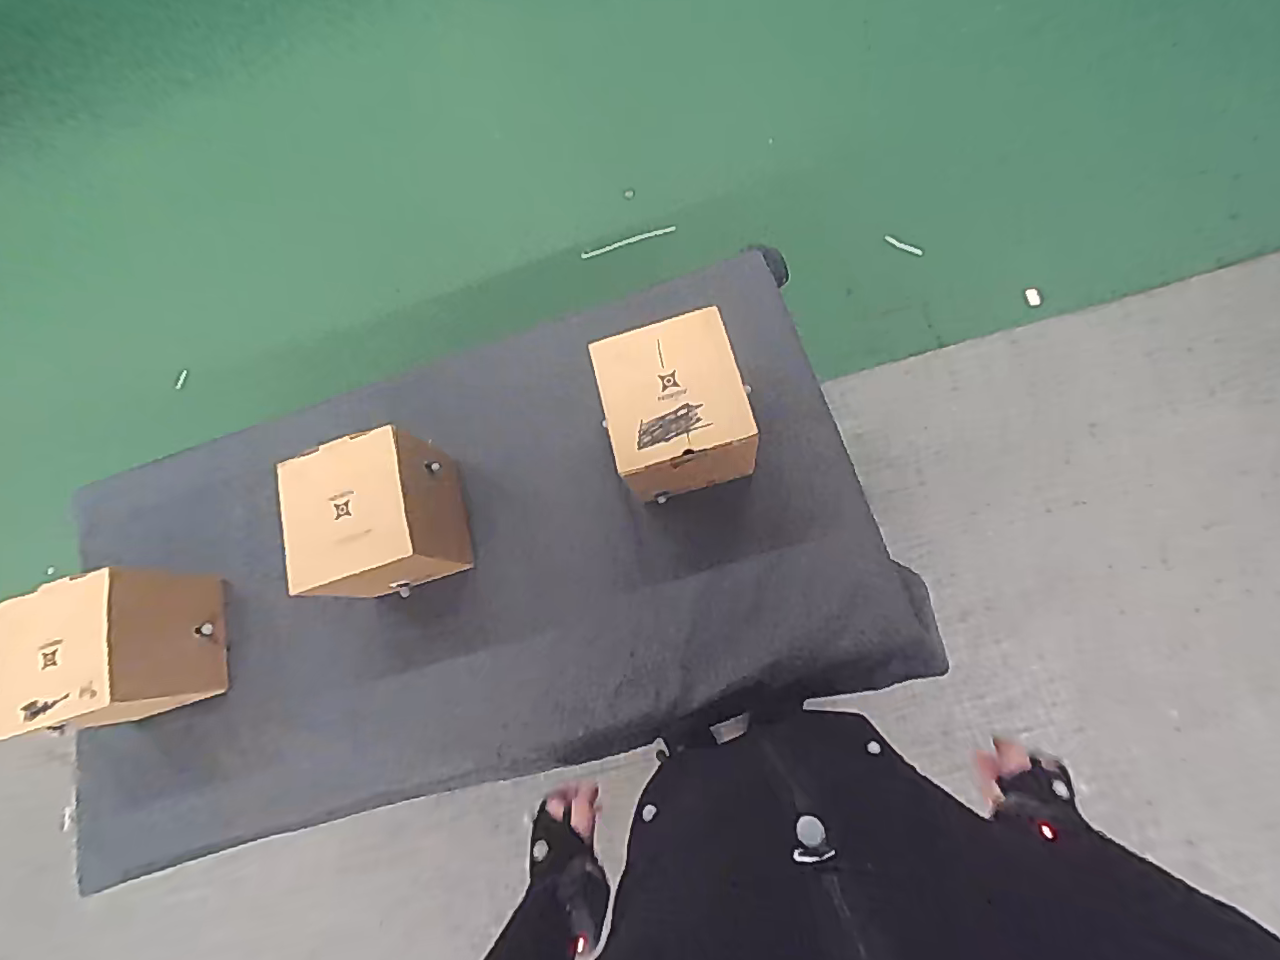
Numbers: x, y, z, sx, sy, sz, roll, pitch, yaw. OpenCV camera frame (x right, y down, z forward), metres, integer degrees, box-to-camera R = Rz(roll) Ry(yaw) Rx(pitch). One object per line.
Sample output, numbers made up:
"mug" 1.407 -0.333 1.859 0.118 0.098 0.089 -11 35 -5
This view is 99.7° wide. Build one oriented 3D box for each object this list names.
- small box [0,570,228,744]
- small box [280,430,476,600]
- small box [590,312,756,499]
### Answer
"small box" -0.713 0.239 0.747 0.168 0.176 0.179 -18 73 4
"small box" -0.347 0.058 0.739 0.168 0.176 0.179 -19 75 5
"small box" 0.048 -0.083 0.709 0.168 0.176 0.179 -16 74 5
